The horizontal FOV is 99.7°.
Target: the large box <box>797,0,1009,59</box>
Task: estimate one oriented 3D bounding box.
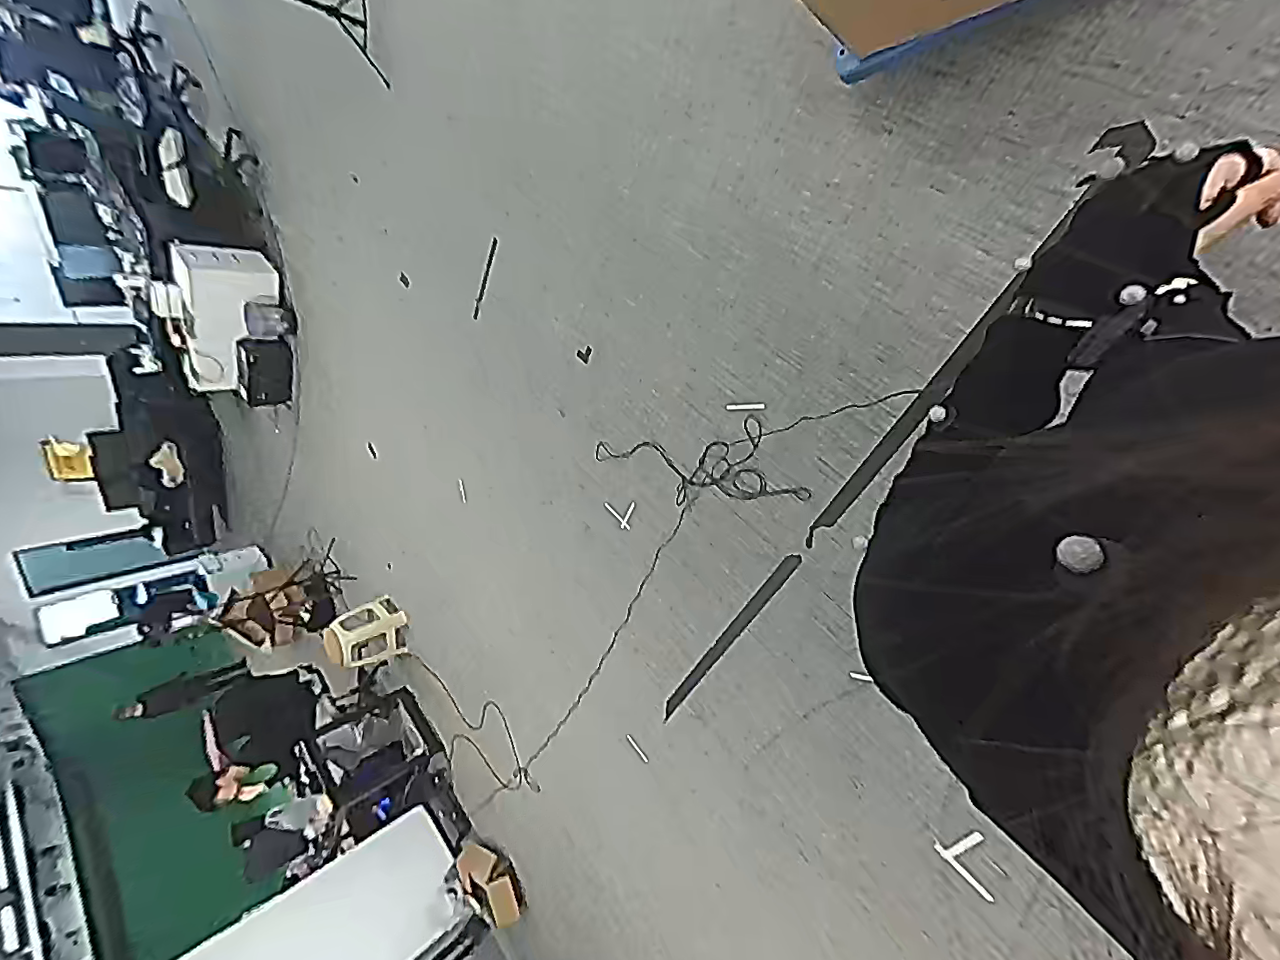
[{"bbox_3d":[0.510,-0.986,0.881,0.408,0.320,0.320,9,106,41],"label":"large box"}]
